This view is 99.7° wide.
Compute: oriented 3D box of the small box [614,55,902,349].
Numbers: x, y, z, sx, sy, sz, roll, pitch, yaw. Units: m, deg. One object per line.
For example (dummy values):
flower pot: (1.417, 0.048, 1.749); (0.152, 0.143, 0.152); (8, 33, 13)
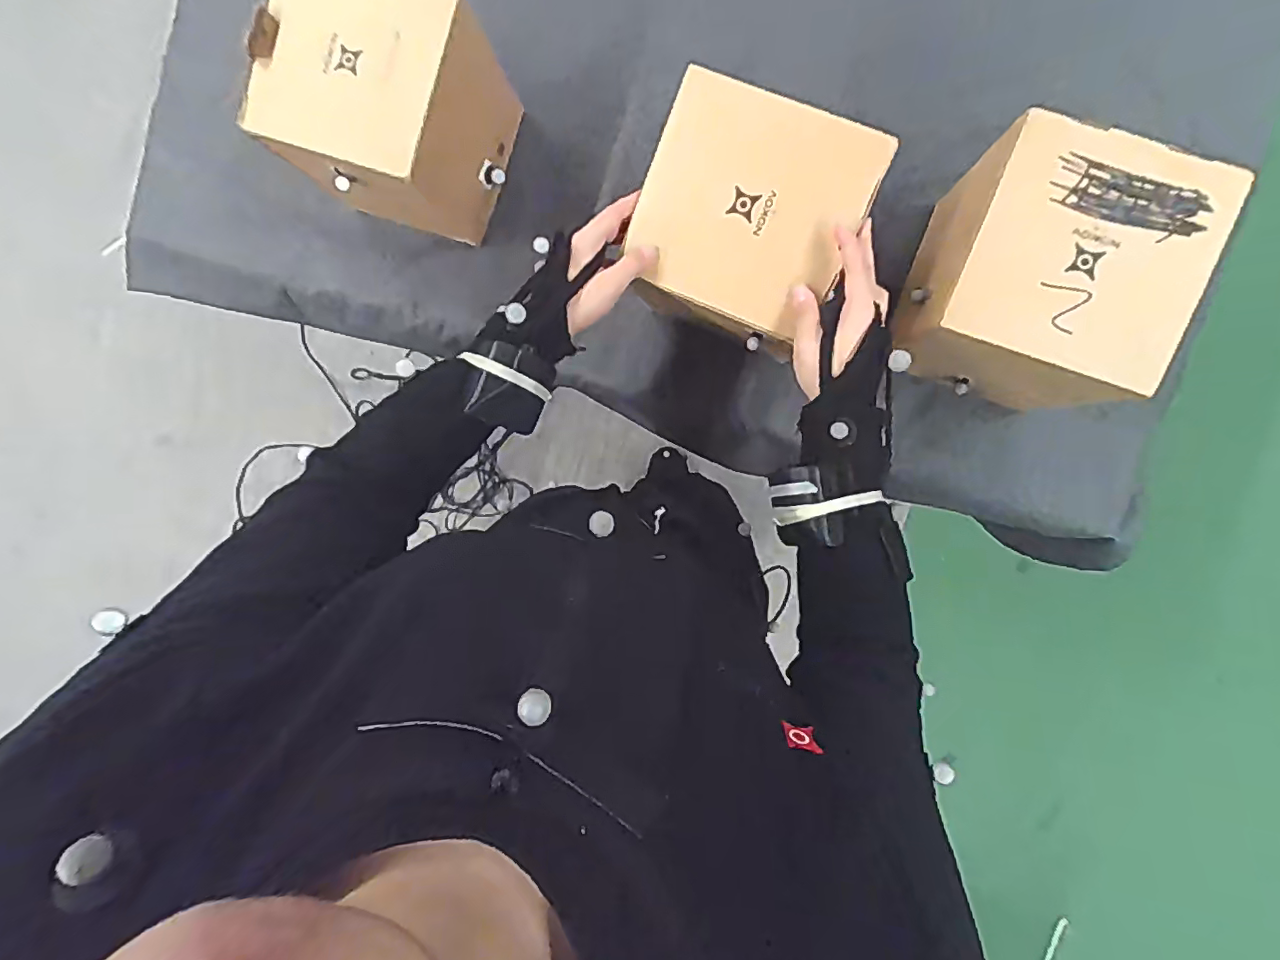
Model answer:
small box: (0.098, -0.232, 0.502); (0.179, 0.176, 0.168); (24, 101, 4)

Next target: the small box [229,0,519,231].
small box: (-0.247, -0.375, 0.539); (0.179, 0.176, 0.168); (18, 96, 5)
